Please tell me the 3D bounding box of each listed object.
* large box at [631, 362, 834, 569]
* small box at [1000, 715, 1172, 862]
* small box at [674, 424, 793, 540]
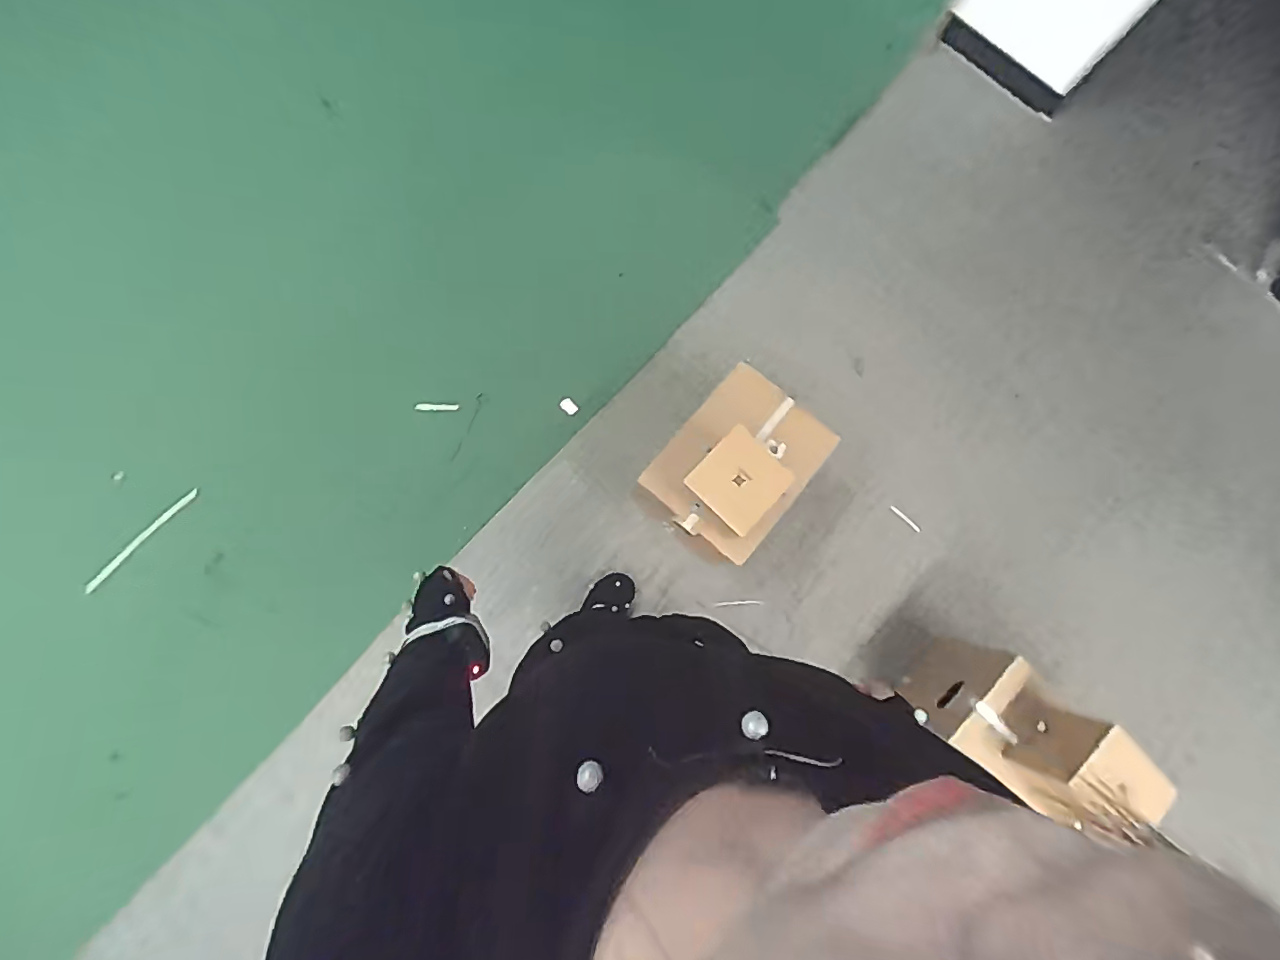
[{"bbox_3d":[0.219,-0.018,1.420,0.320,0.320,0.408,41,79,4],"label":"large box"},{"bbox_3d":[0.902,0.617,1.110,0.168,0.176,0.179,-38,85,-12],"label":"small box"},{"bbox_3d":[0.189,0.014,1.163,0.168,0.176,0.179,45,79,3],"label":"small box"}]
